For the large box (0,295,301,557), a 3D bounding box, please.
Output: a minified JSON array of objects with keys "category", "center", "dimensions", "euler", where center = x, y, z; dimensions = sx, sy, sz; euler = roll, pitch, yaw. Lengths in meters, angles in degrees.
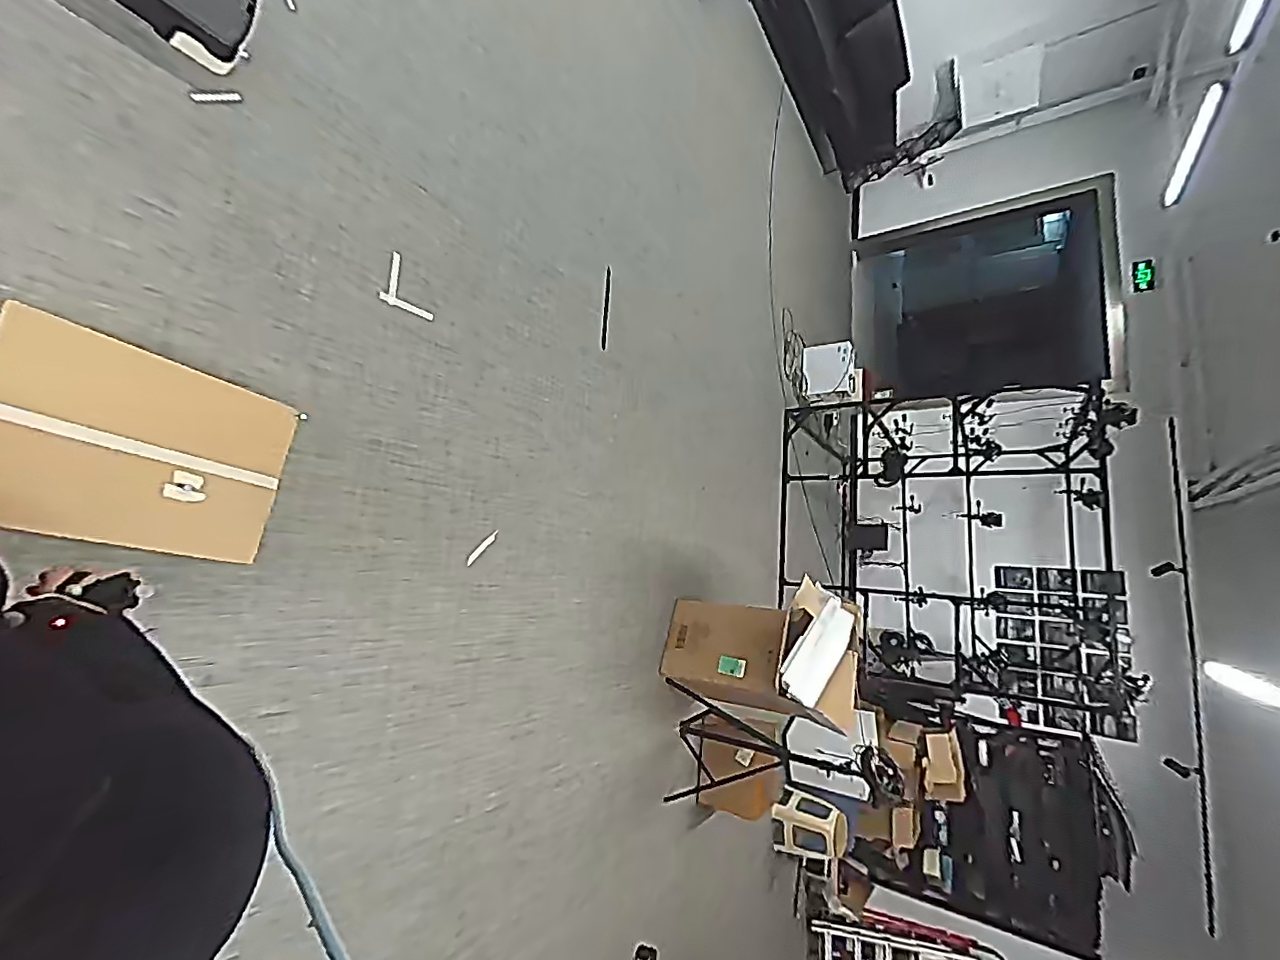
[{"category":"large box","center":[-0.912,-0.055,0.940],"dimensions":[0.408,0.320,0.320],"euler":[30,64,-54]}]
